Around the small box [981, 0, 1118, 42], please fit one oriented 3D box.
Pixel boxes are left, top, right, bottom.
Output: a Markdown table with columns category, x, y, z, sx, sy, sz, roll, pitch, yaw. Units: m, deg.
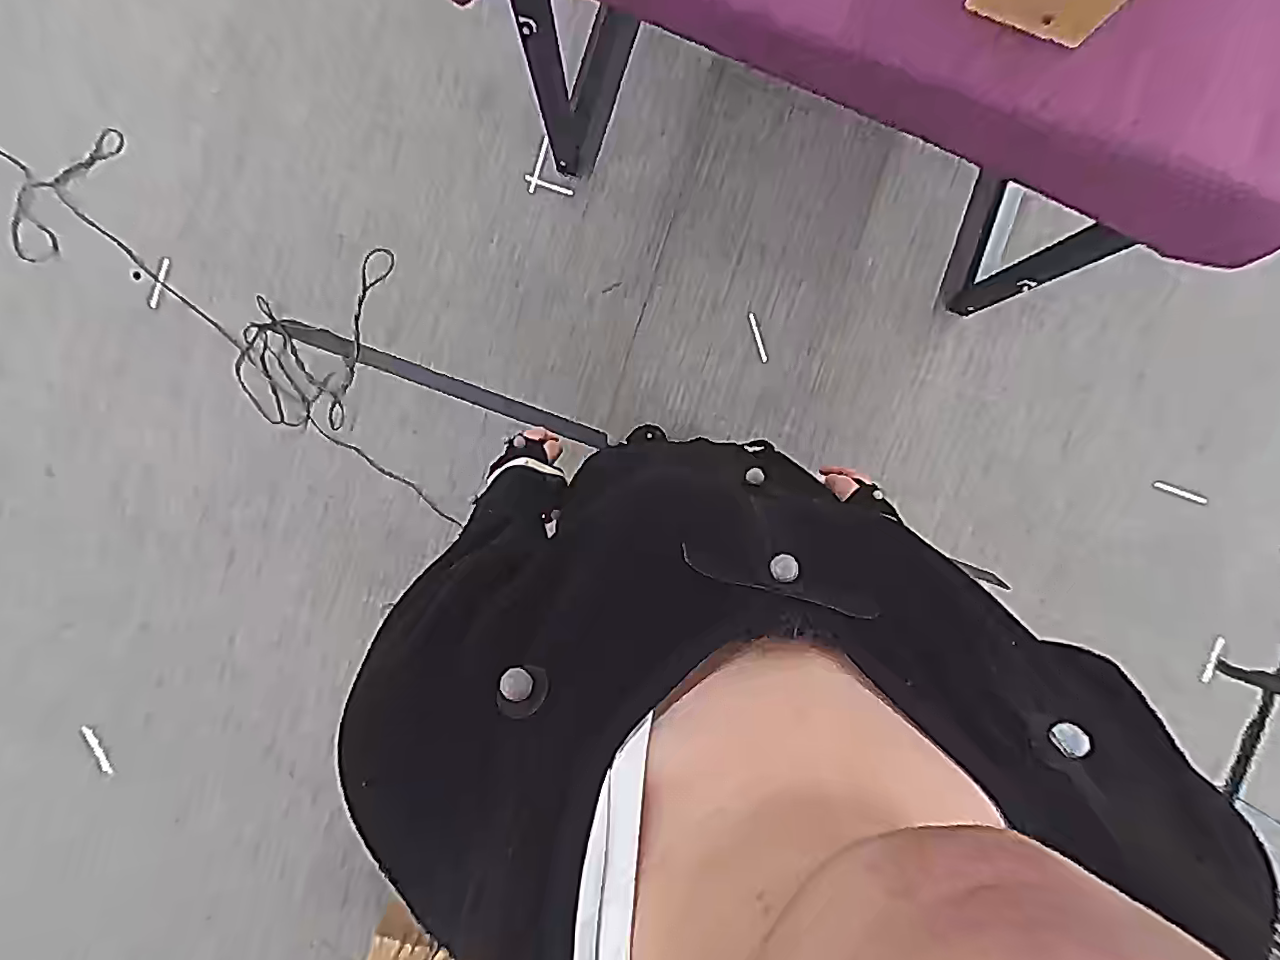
| category | x | y | z | sx | sy | sz | roll | pitch | yaw |
| --- | --- | --- | --- | --- | --- | --- | --- | --- | --- |
| small box | 0.553 | -0.700 | 0.664 | 0.168 | 0.176 | 0.179 | 19 | 92 | -1 |
